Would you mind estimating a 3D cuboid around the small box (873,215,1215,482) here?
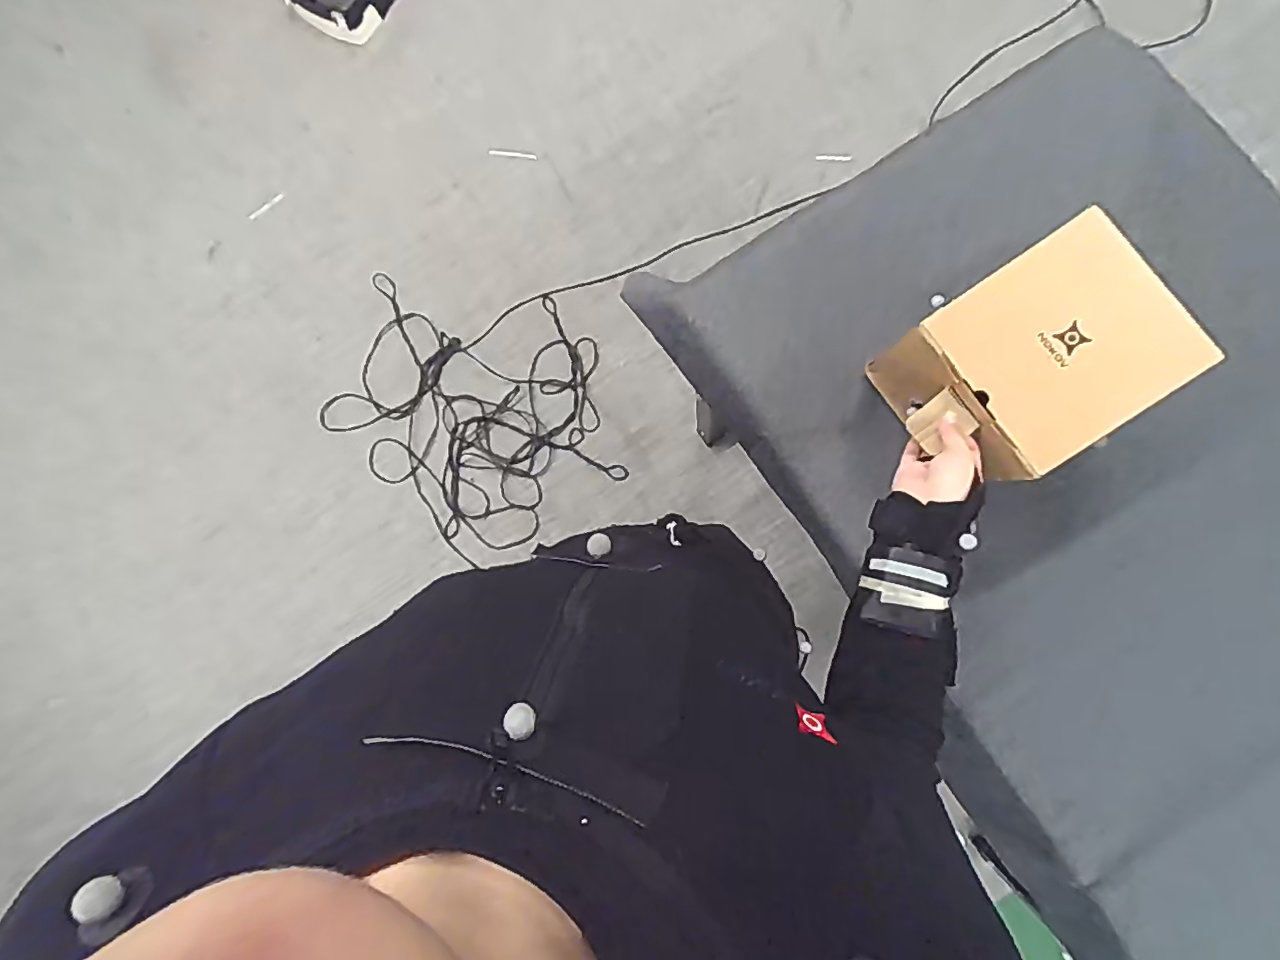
[{"bbox_3d":[0.371,-0.112,0.538,0.179,0.176,0.168,-35,84,5],"label":"small box"}]
